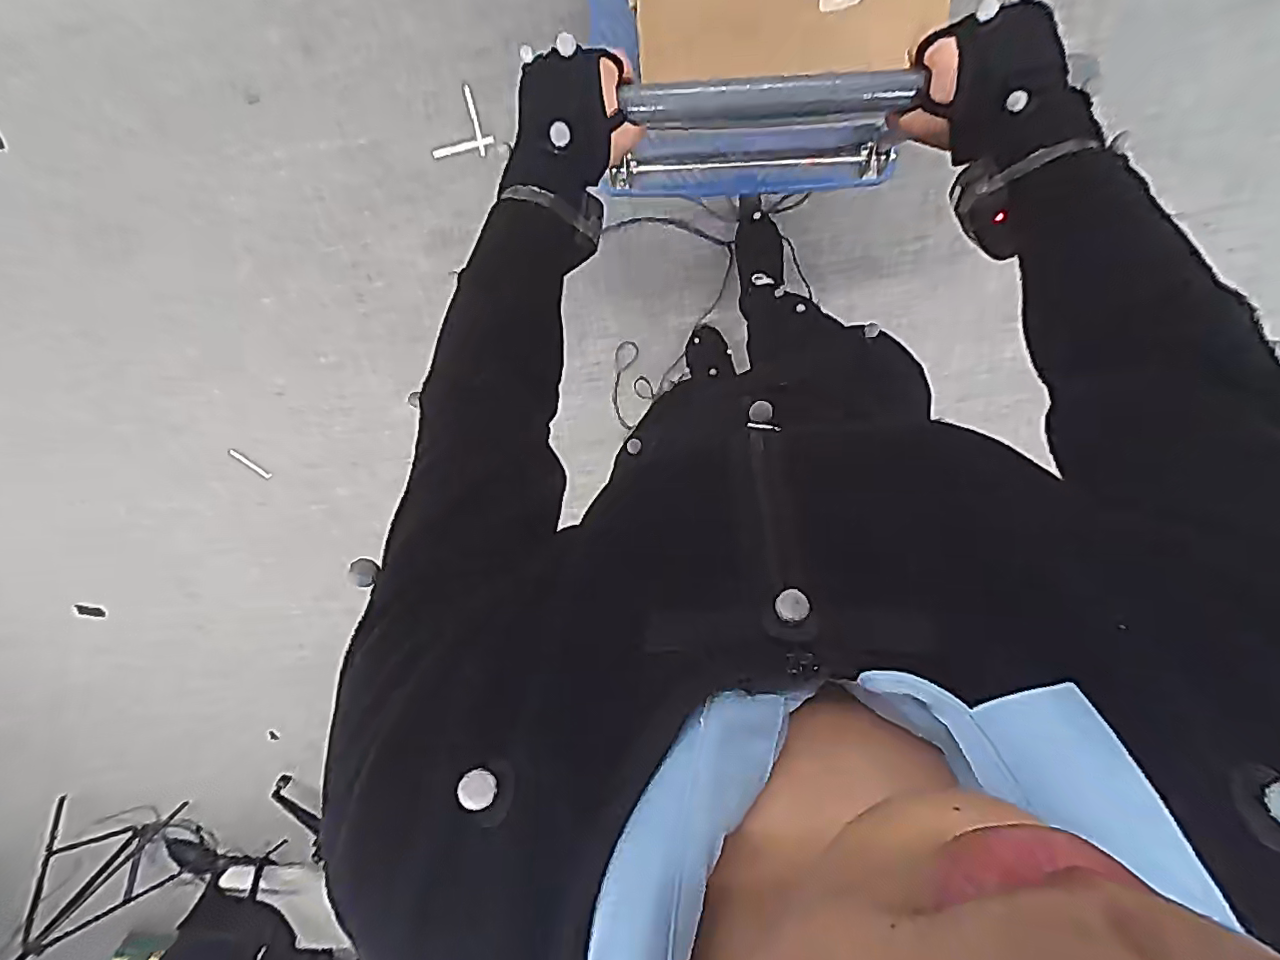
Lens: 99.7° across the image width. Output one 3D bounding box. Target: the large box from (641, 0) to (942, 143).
[{"bbox_3d":[0.208,-0.746,0.841,0.408,0.320,0.320,-3,116,7],"label":"large box"}]
